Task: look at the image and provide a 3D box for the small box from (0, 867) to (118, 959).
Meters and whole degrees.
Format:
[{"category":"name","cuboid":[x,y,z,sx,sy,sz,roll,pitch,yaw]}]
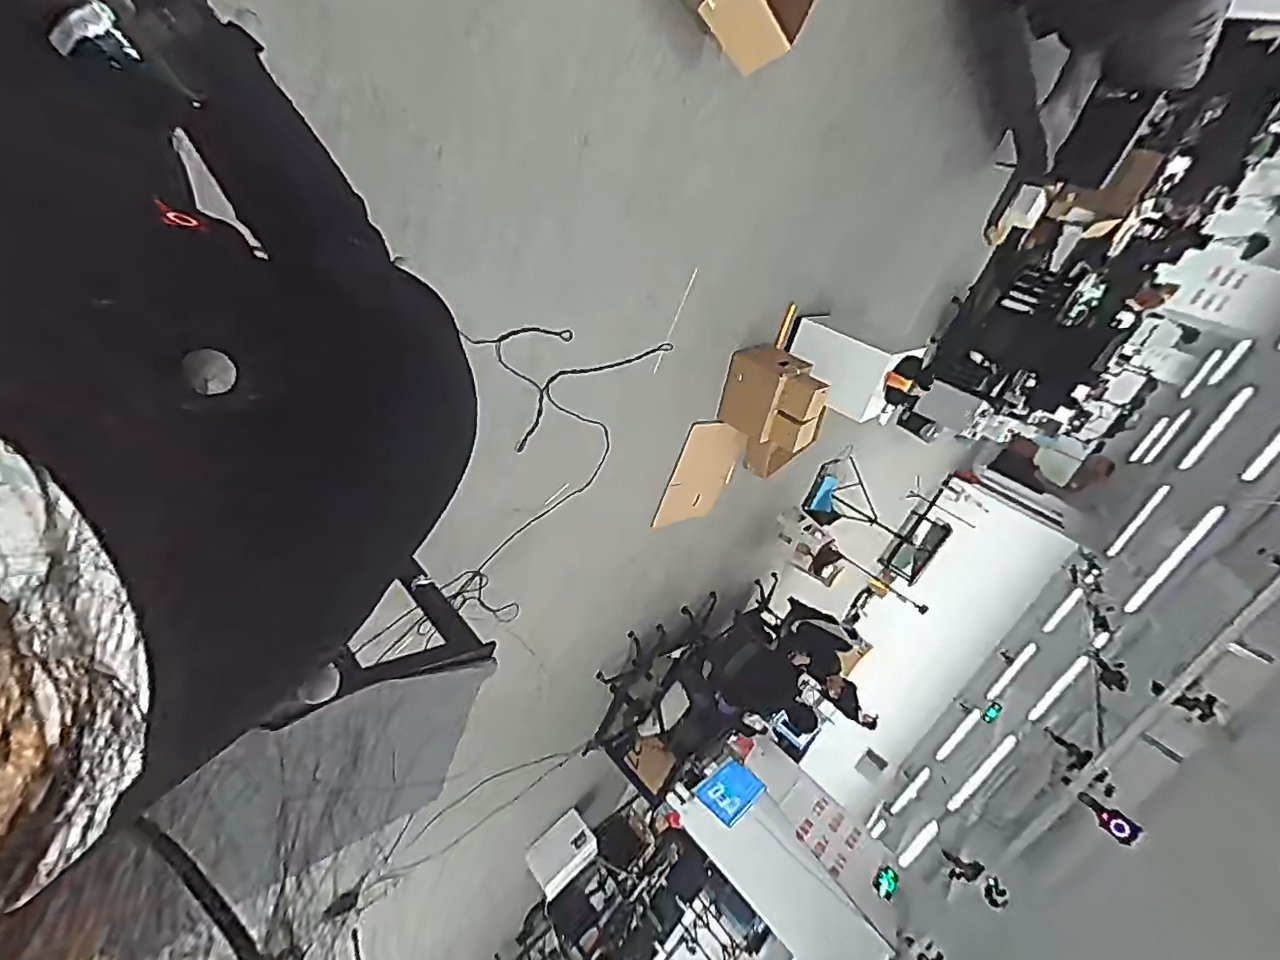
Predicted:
[{"category":"small box","cuboid":[-0.902,0.733,0.800,0.168,0.176,0.179,-5,125,-51]}]
